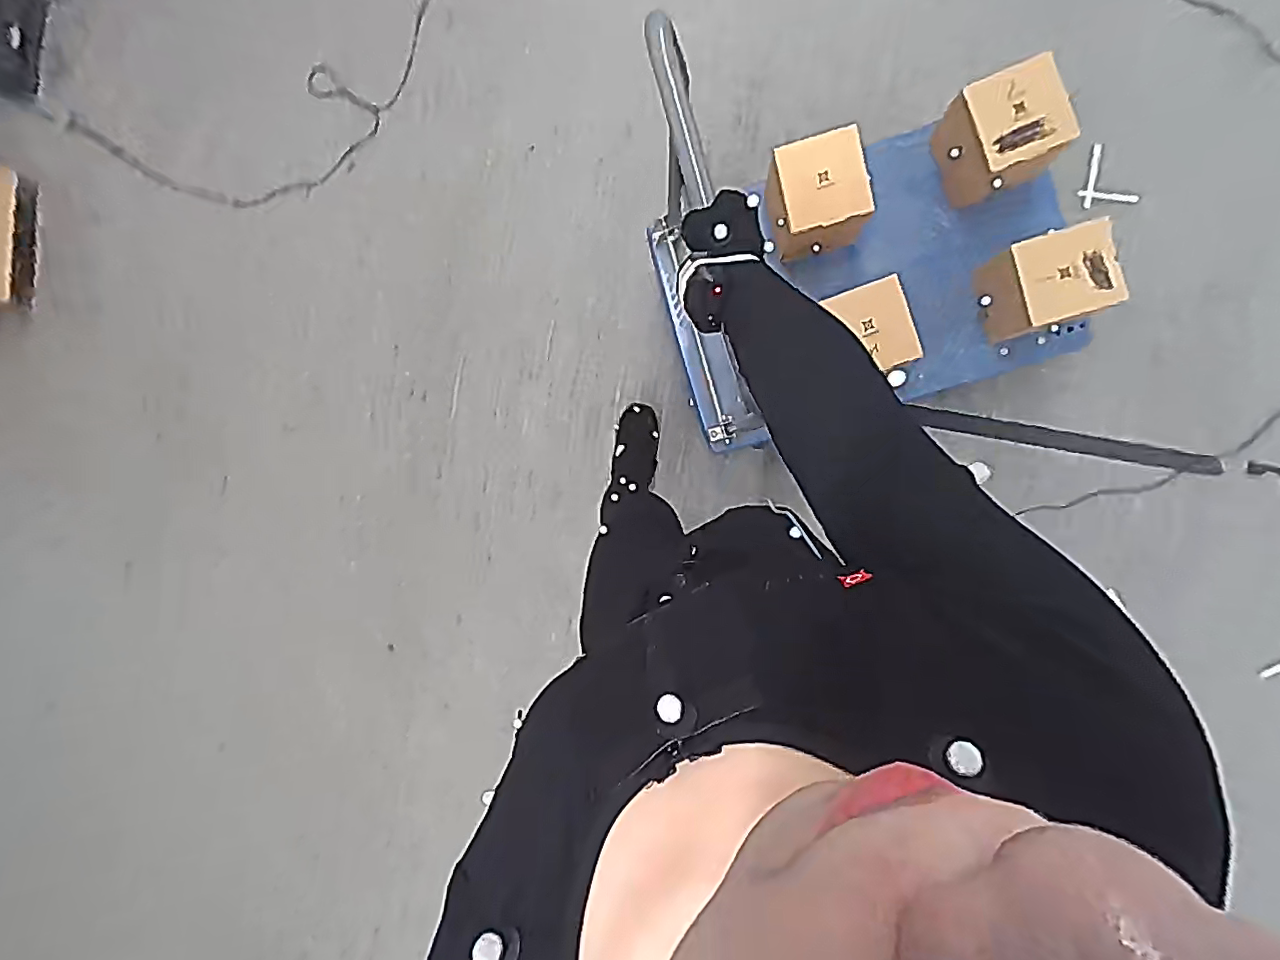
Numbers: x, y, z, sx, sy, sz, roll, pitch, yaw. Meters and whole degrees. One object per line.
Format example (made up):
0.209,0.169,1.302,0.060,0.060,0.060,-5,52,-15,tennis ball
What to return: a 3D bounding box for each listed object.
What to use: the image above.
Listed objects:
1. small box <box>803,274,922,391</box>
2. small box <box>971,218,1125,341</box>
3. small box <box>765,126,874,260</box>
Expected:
0.463,-0.304,1.156,0.168,0.176,0.179,-19,90,7,small box
0.824,-0.399,1.109,0.179,0.176,0.168,-15,91,8,small box
0.373,-0.601,1.153,0.168,0.176,0.179,-14,93,7,small box
